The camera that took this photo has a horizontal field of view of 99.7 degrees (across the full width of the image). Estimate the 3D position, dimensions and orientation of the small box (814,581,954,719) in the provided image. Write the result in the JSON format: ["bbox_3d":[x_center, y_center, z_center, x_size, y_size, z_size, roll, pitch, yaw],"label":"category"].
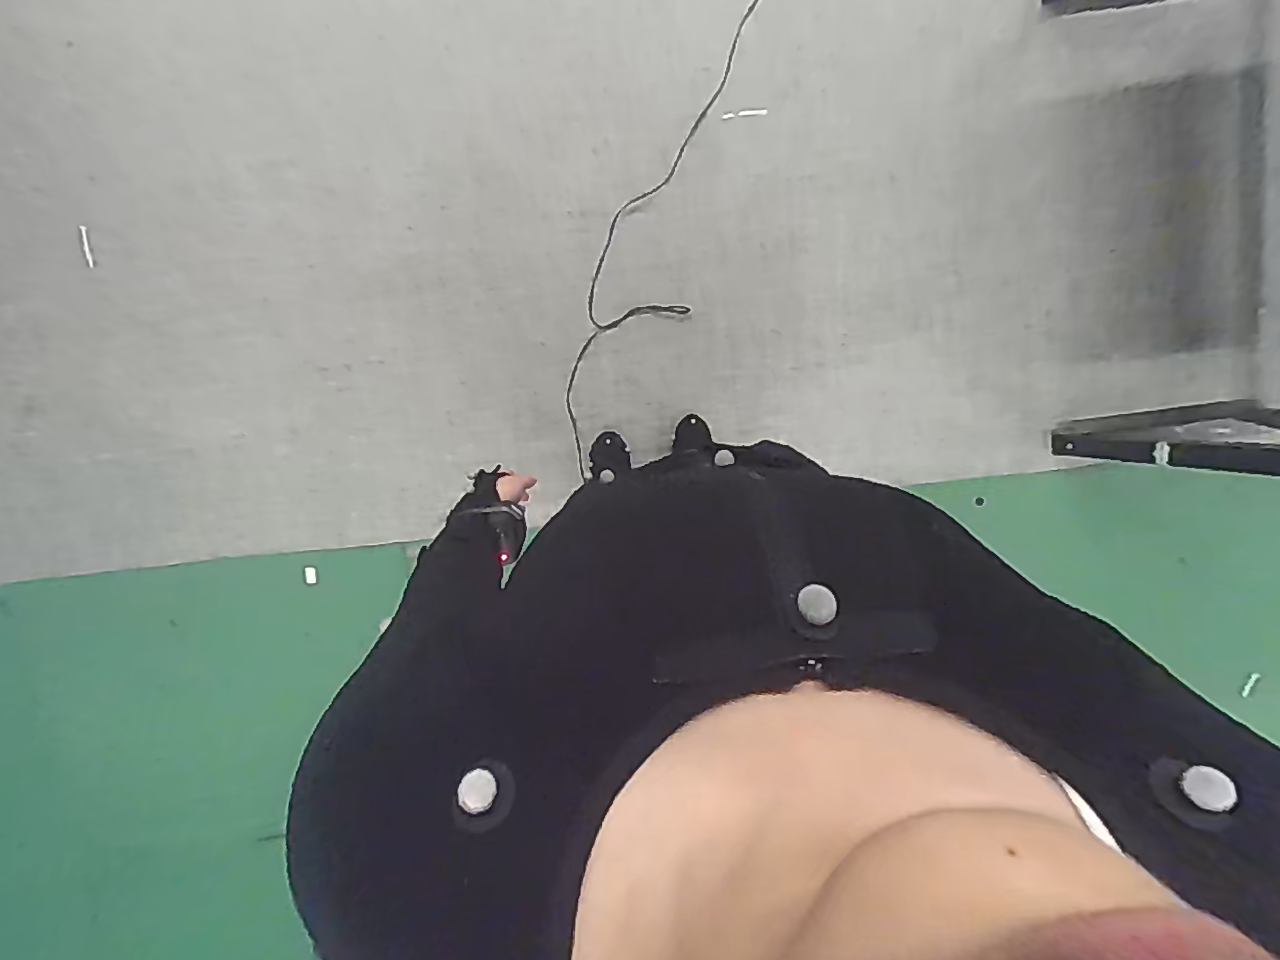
[{"bbox_3d":[0.484,0.335,1.097,0.168,0.176,0.179,-31,95,4],"label":"small box"}]
